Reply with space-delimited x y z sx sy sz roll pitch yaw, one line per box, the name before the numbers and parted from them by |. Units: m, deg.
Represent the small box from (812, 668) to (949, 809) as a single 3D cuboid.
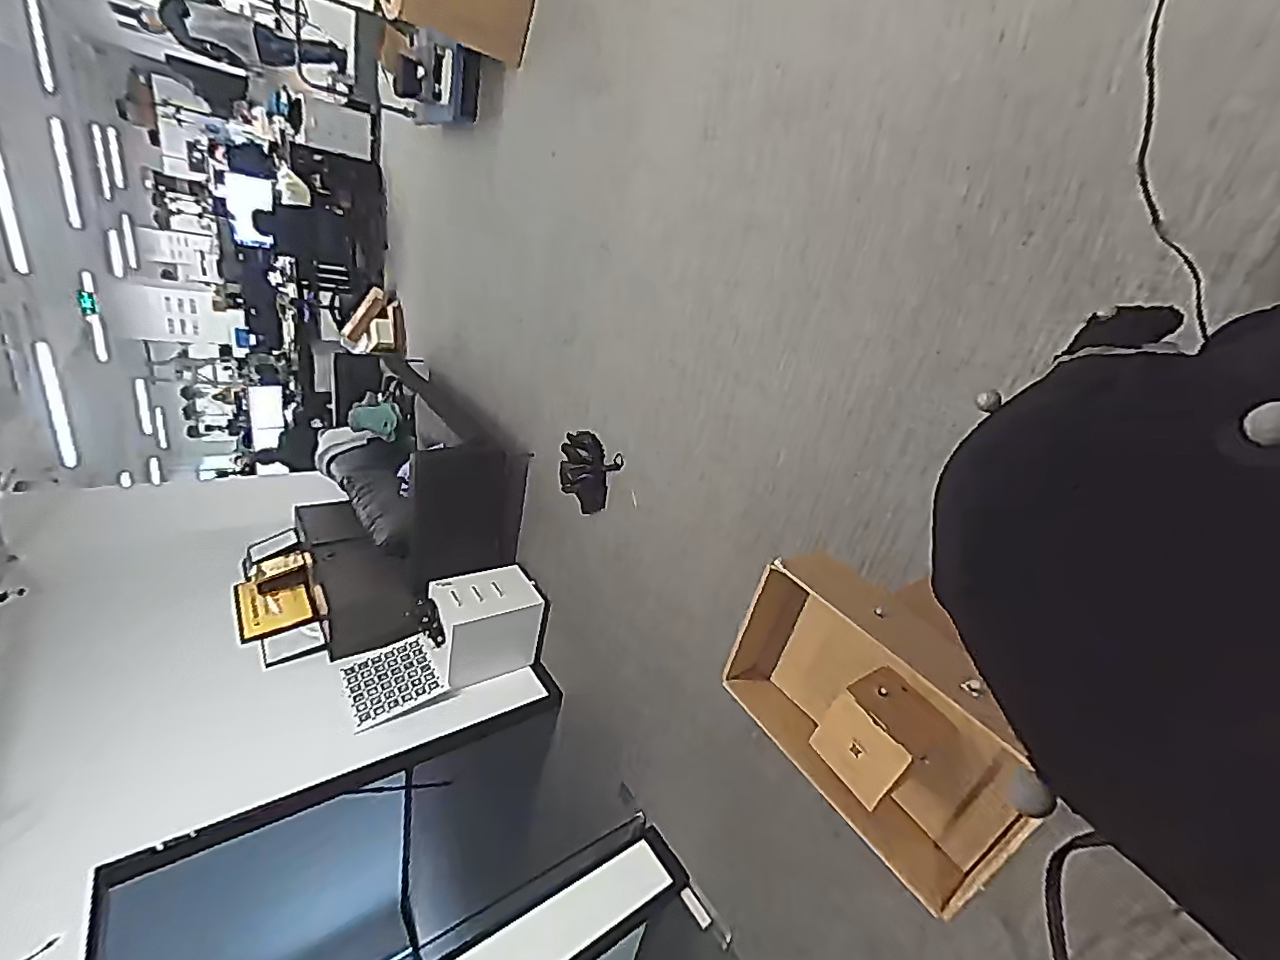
small box | 0.495 0.518 1.109 0.168 0.176 0.179 44 131 42
